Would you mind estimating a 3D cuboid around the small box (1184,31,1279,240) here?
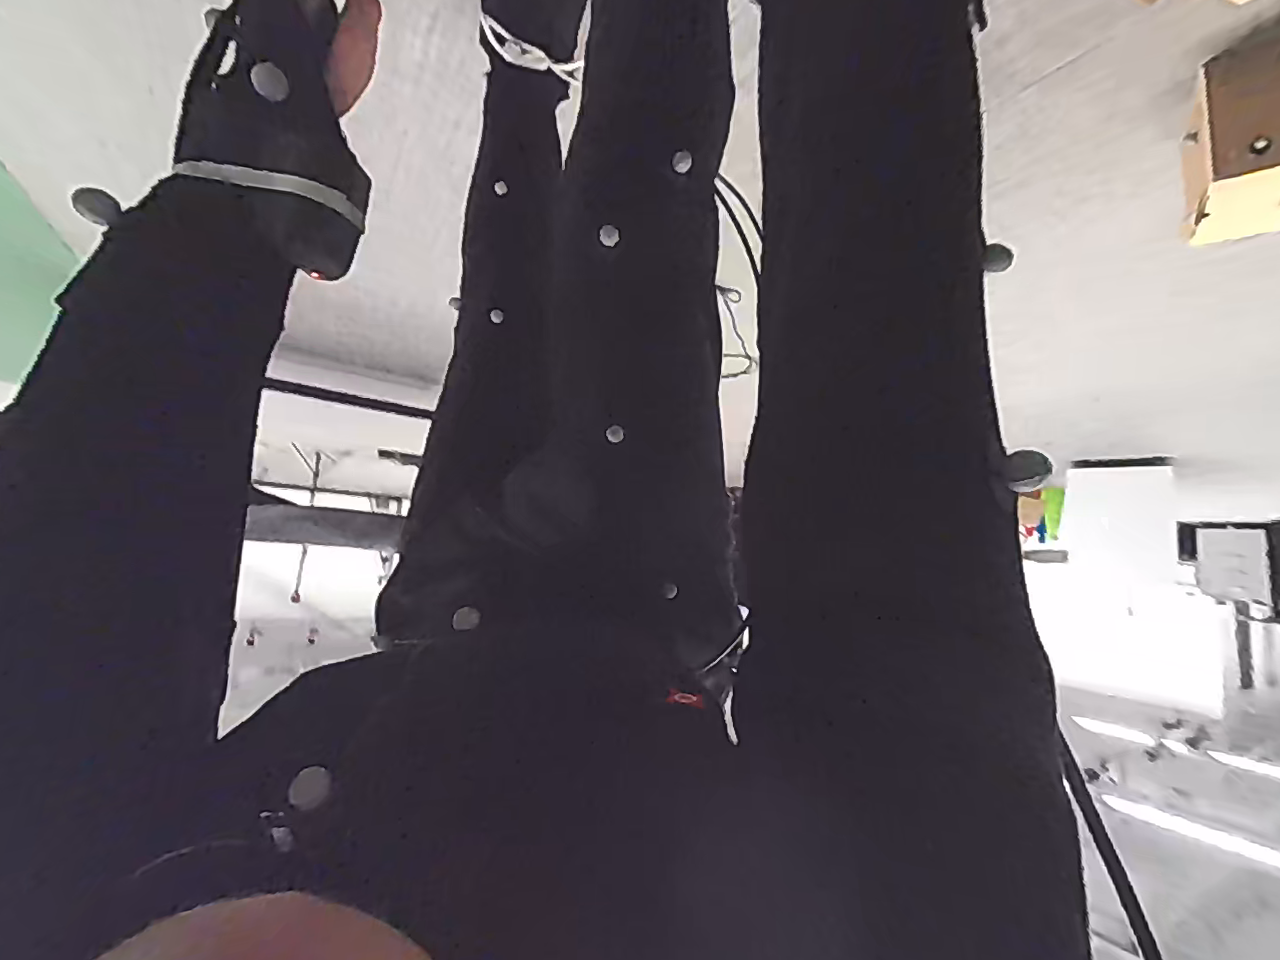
[{"bbox_3d":[0.811,-0.437,0.668,0.179,0.176,0.168,-1,171,38],"label":"small box"}]
